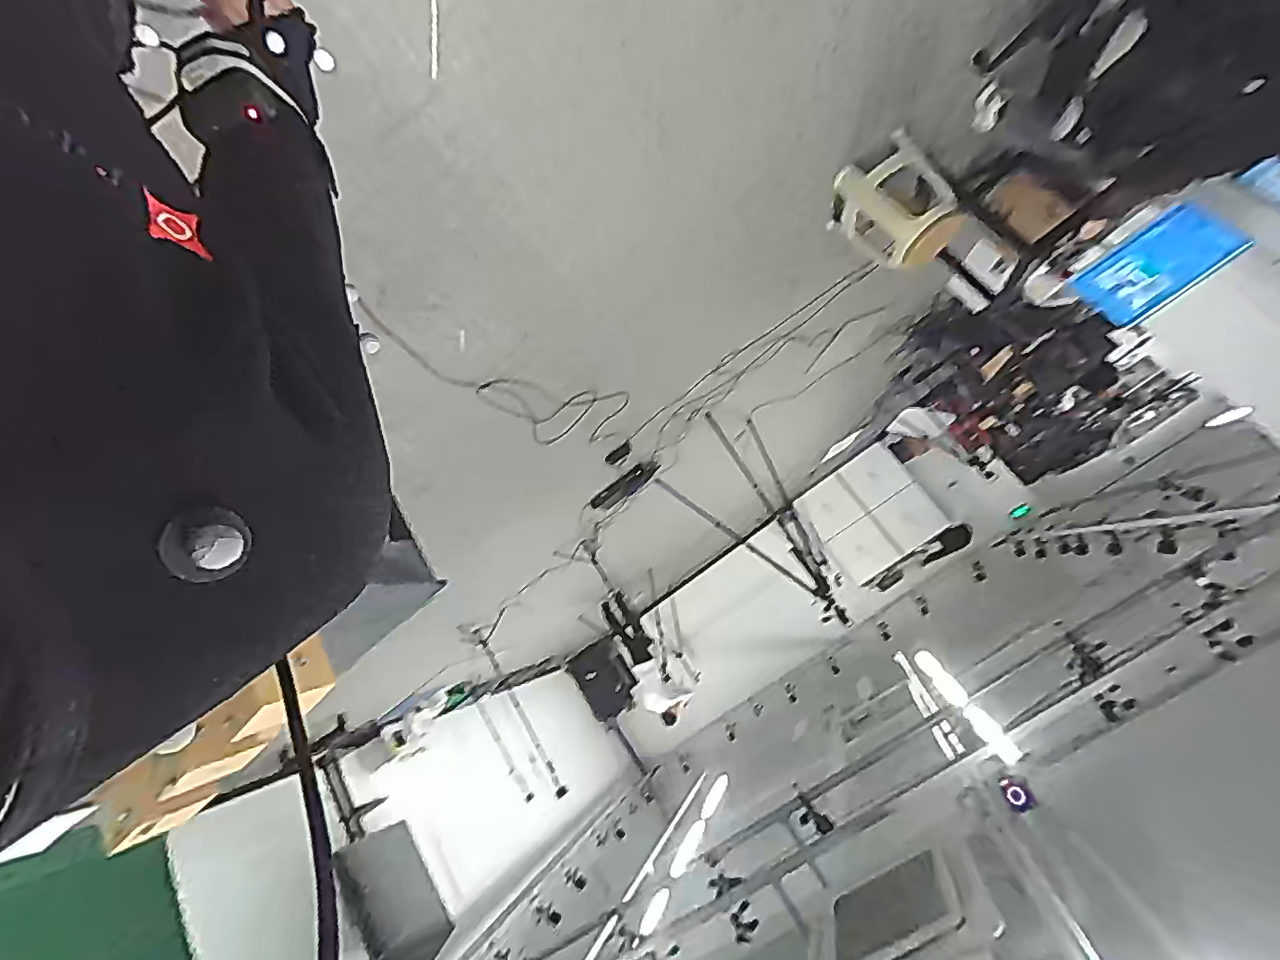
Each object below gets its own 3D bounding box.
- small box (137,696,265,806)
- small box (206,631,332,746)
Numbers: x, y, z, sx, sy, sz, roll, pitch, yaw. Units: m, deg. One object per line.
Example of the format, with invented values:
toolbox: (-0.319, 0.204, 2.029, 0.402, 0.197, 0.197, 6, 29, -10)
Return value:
small box: (-1.060, 0.631, 1.301, 0.168, 0.176, 0.179, -40, 162, 20)
small box: (-0.854, 0.464, 1.240, 0.179, 0.176, 0.168, -42, 161, 22)
